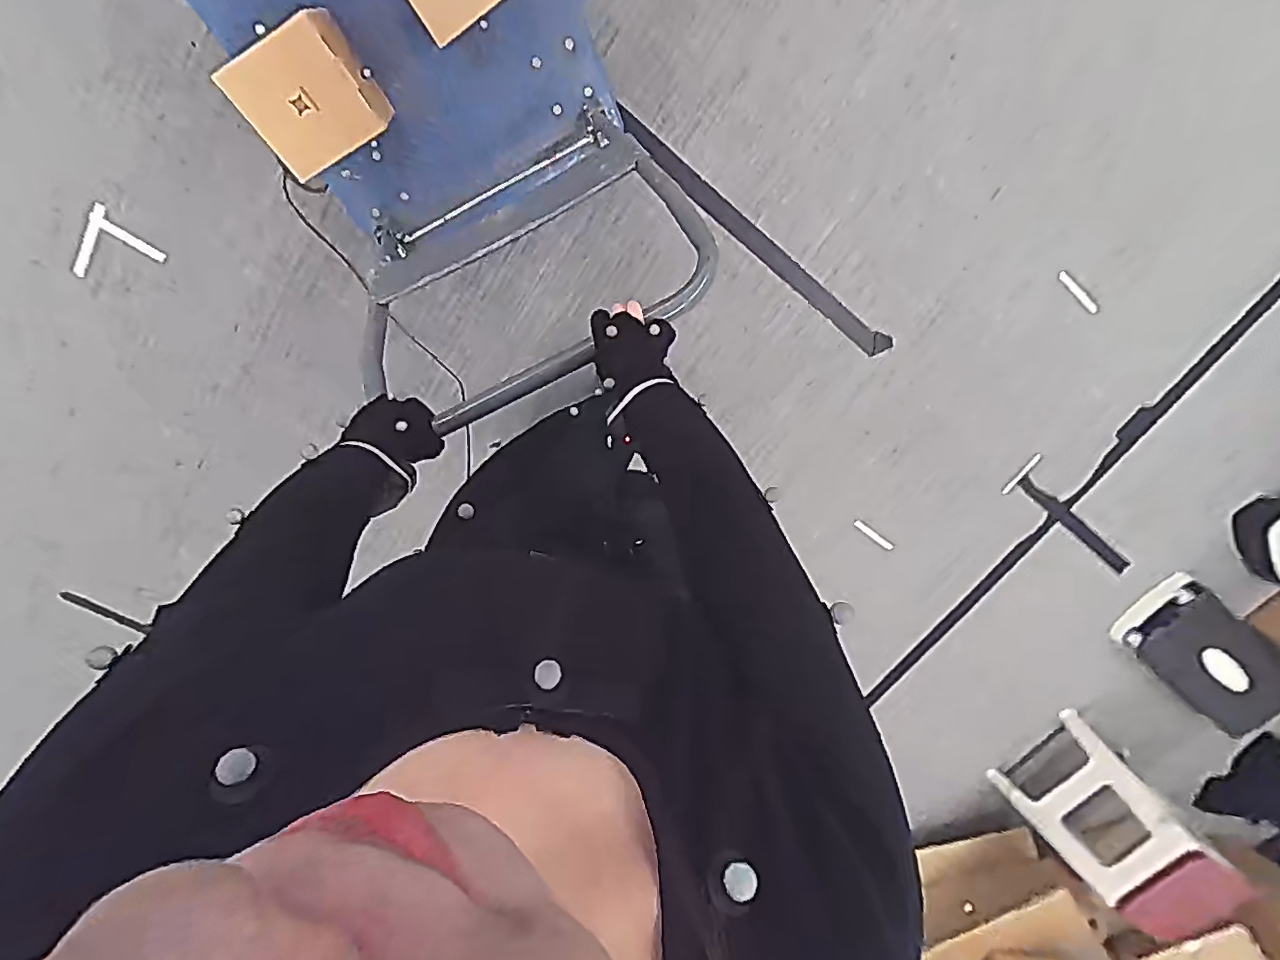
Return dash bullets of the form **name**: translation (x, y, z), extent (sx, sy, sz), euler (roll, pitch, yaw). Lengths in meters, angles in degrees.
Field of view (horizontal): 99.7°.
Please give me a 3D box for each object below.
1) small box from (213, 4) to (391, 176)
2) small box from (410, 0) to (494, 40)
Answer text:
- **small box**: translation (-0.542, -0.645, 0.898), extent (0.179, 0.176, 0.168), euler (-29, 133, 7)
- **small box**: translation (-0.291, -0.815, 0.822), extent (0.179, 0.176, 0.168), euler (-30, 133, 10)
